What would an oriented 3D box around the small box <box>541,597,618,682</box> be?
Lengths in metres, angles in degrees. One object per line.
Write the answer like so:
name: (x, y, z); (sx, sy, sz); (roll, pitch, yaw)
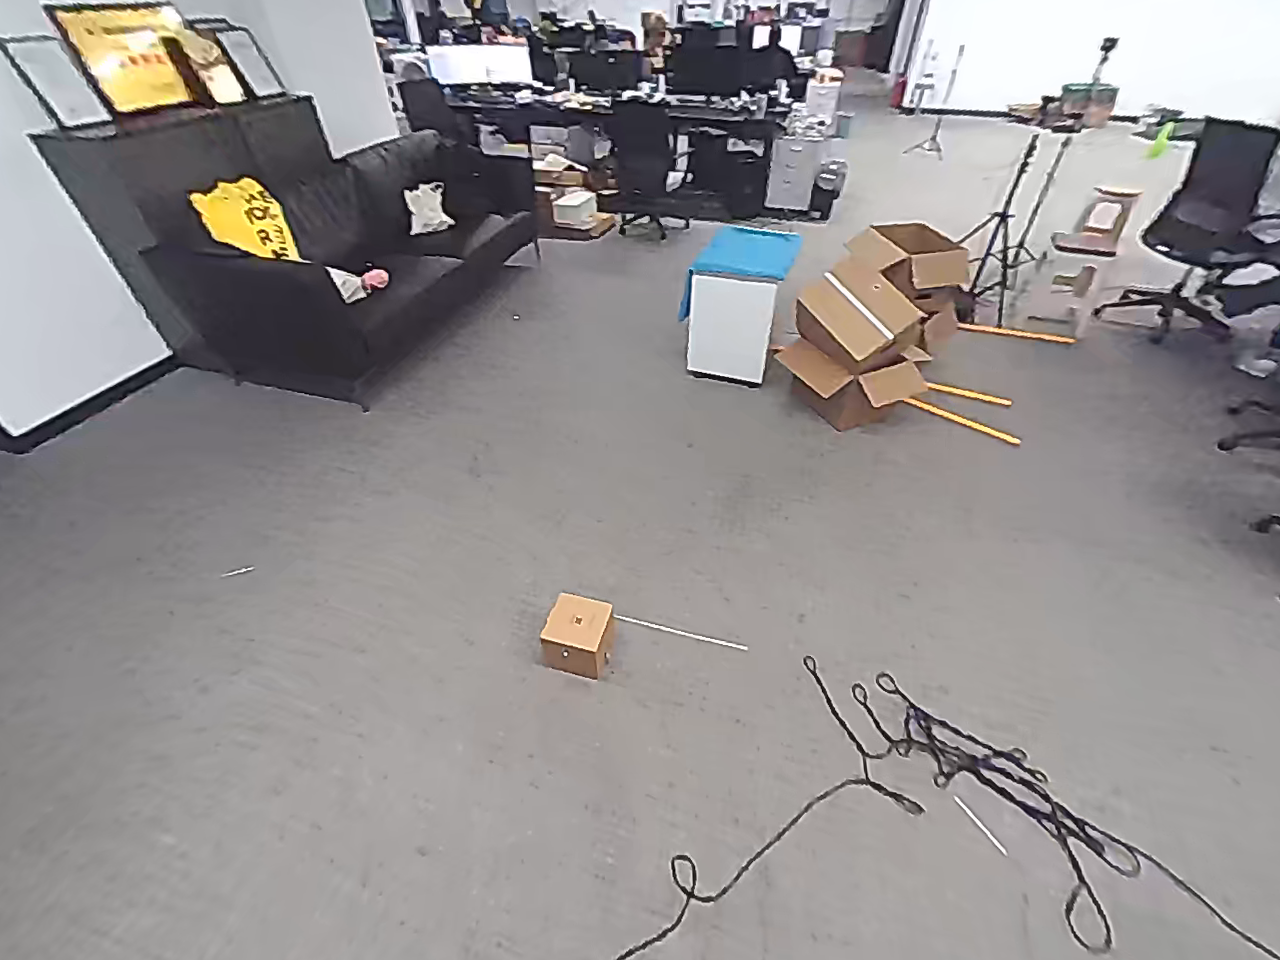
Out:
small box: (-0.176, 0.483, 1.631); (0.179, 0.176, 0.168); (10, 43, 13)
